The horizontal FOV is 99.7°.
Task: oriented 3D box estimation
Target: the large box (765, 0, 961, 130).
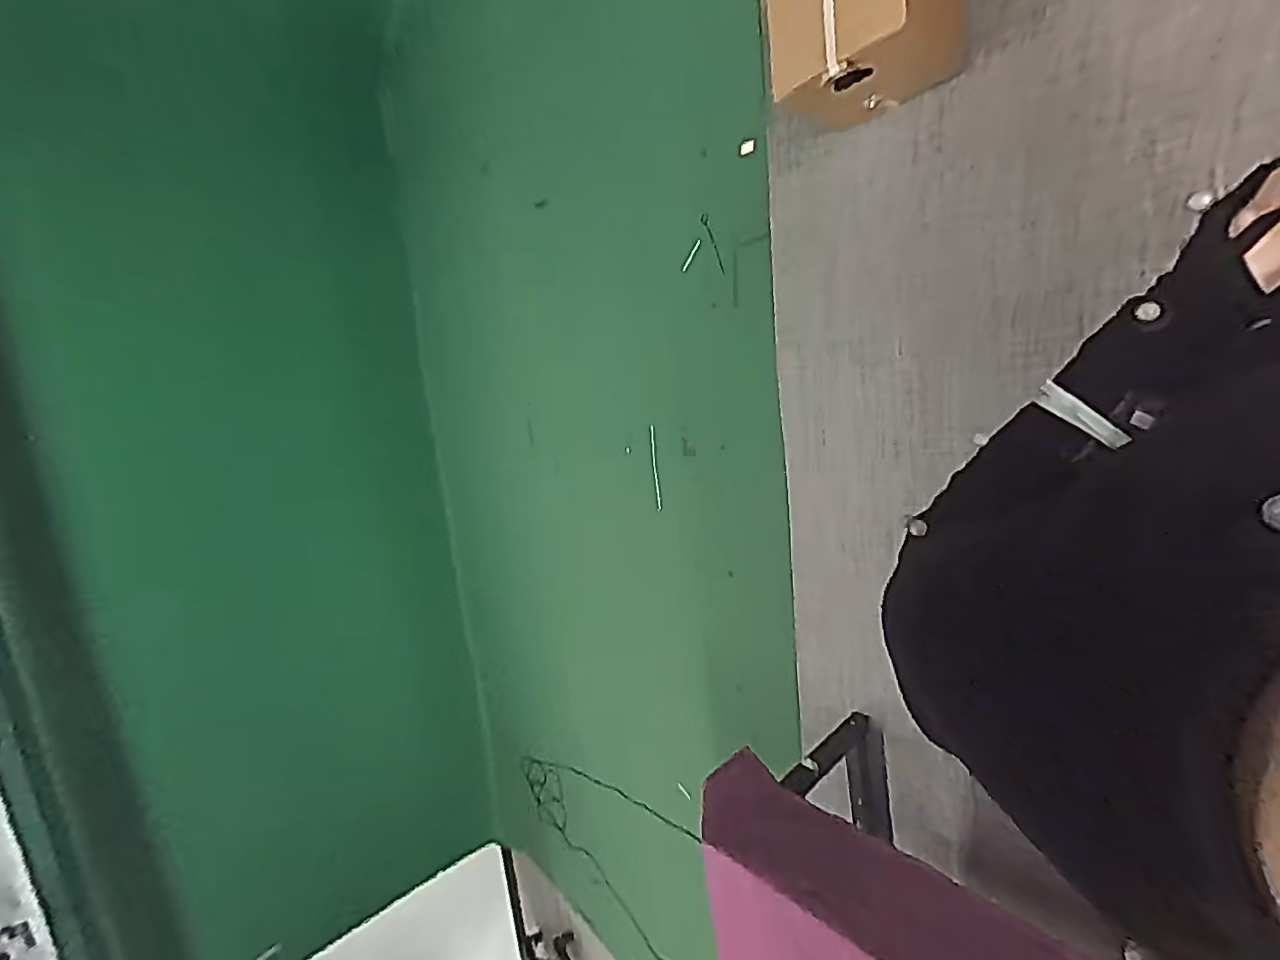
[{"bbox_3d":[0.504,-1.111,1.234,0.320,0.320,0.408,4,103,49],"label":"large box"}]
